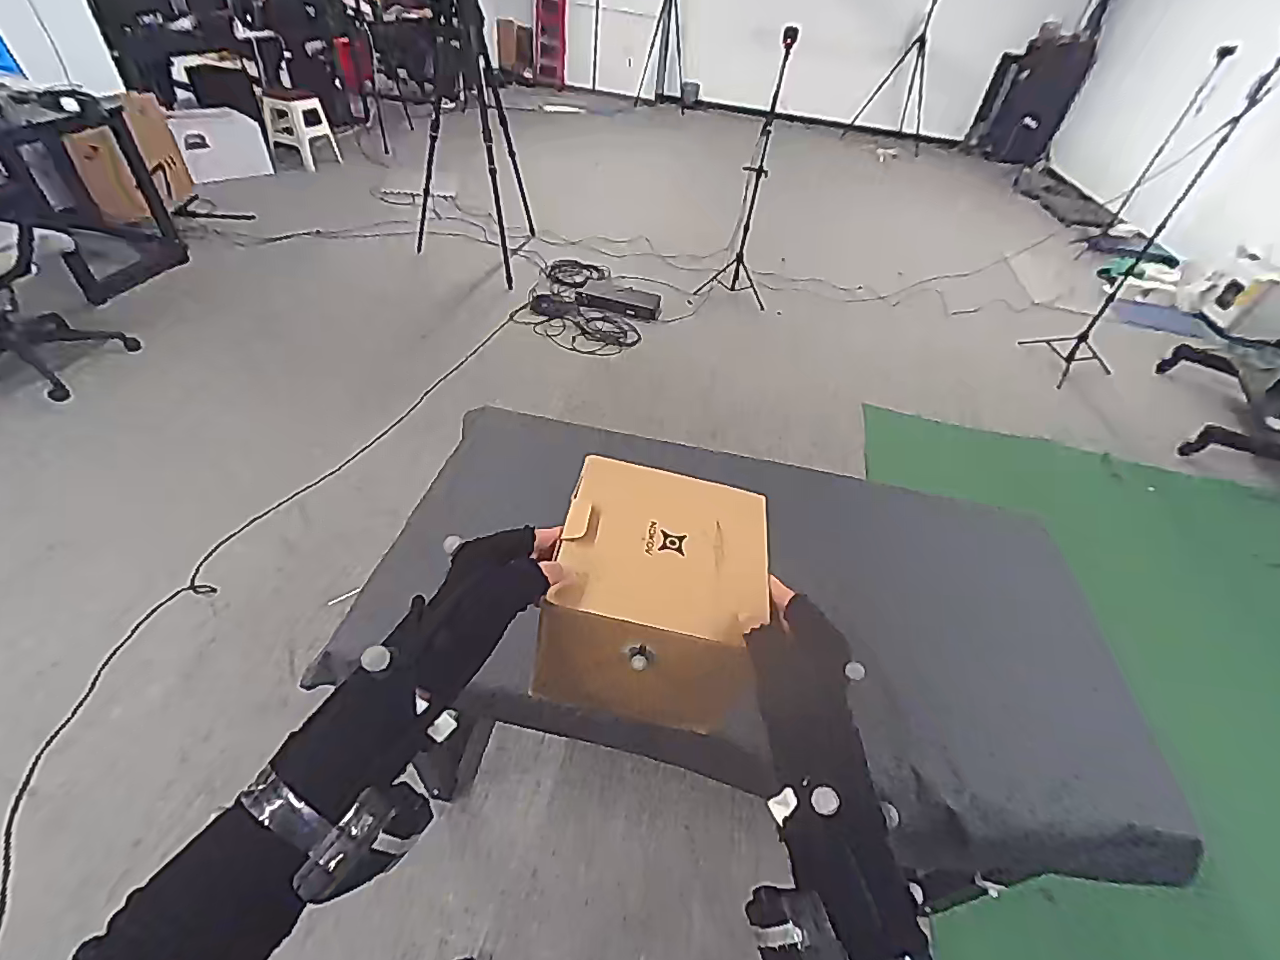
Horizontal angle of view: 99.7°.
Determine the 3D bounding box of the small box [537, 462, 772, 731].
[{"bbox_3d":[0.009,0.114,0.509,0.179,0.176,0.168,14,45,-3],"label":"small box"}]
